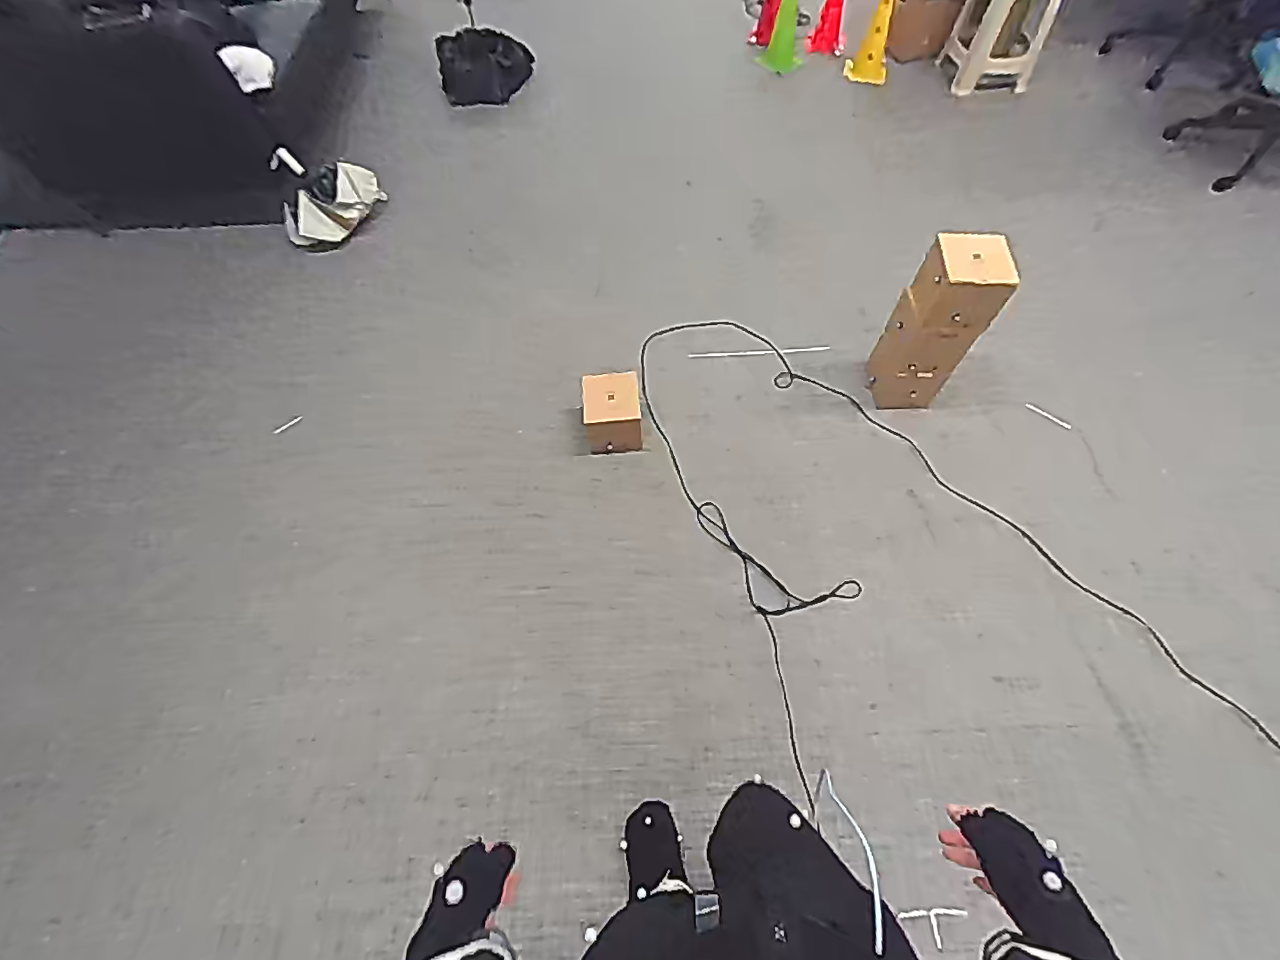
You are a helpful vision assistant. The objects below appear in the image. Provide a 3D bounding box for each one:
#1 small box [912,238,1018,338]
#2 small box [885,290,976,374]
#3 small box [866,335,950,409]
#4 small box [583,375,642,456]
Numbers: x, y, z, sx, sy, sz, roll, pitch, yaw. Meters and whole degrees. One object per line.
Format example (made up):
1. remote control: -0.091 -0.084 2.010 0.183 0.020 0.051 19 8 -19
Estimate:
1. small box: 0.825 -0.493 1.393 0.168 0.176 0.179 4 62 4
2. small box: 0.821 -0.417 1.537 0.168 0.176 0.179 -1 61 1
3. small box: 0.824 -0.332 1.677 0.168 0.176 0.179 -1 62 1
4. small box: -0.082 -0.192 1.636 0.168 0.176 0.179 -5 62 0
